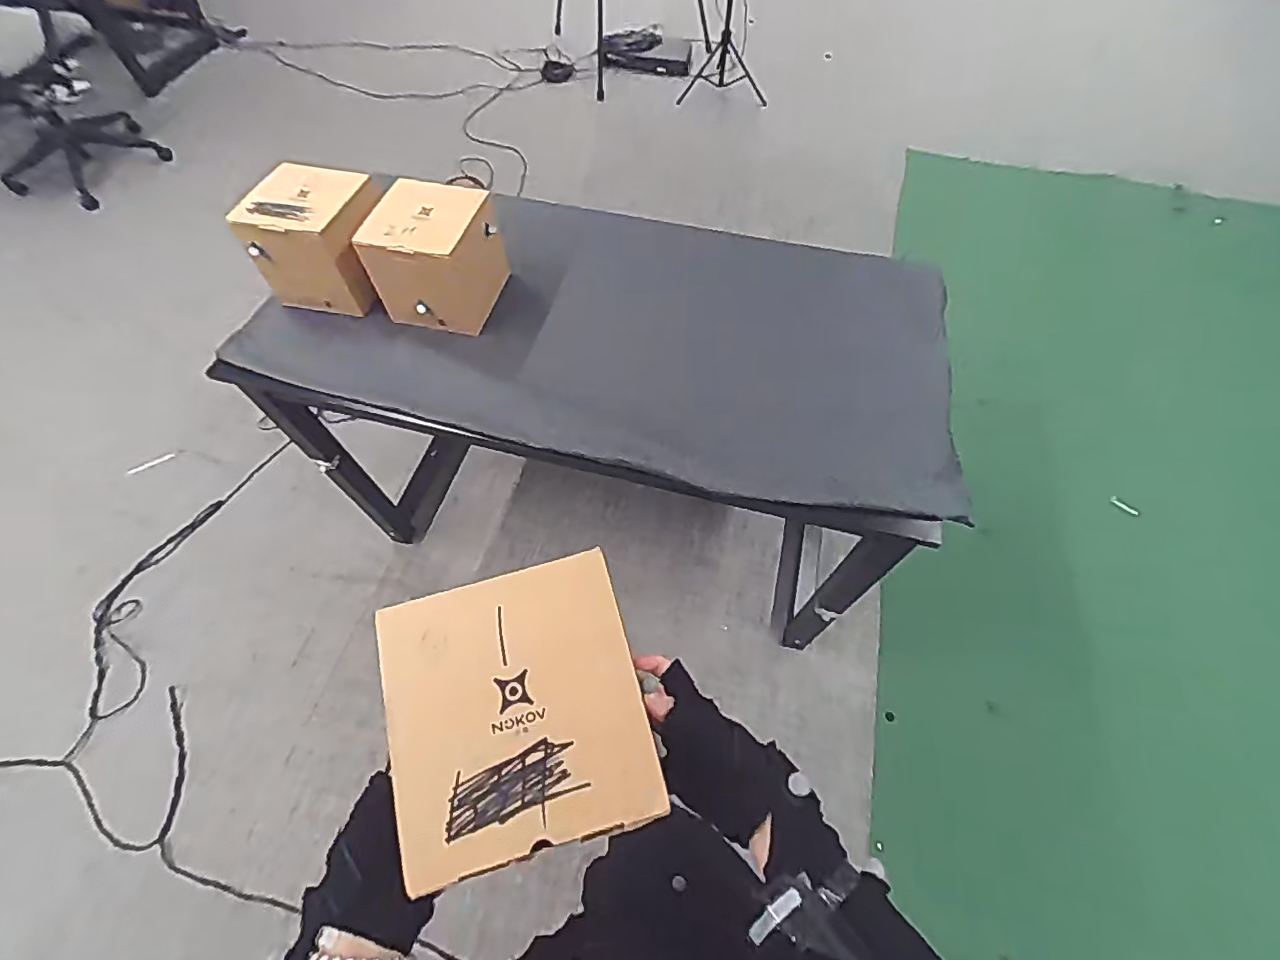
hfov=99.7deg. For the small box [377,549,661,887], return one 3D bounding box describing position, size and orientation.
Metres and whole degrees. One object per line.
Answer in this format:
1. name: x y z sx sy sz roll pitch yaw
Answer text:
1. small box: -0.084 0.174 0.431 0.168 0.176 0.179 -14 69 -6
